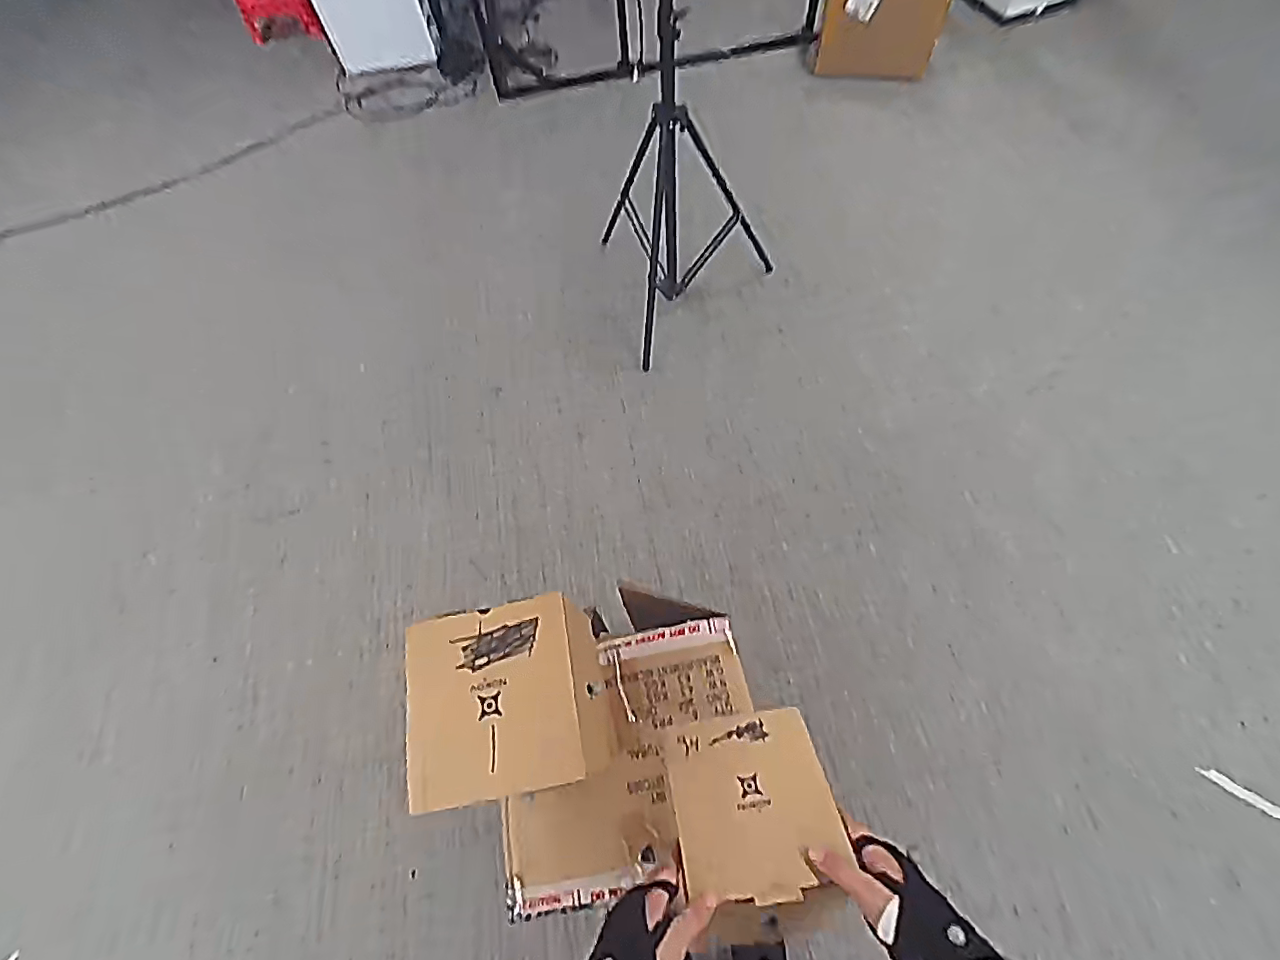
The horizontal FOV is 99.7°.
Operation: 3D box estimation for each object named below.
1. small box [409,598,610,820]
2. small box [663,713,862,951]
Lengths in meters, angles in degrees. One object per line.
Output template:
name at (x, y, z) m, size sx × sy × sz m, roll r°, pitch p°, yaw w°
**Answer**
small box at (-0.134, 0.246, 0.590) m, size 0.168 × 0.176 × 0.179 m, roll -12°, pitch 65°, yaw 0°
small box at (0.122, 0.394, 0.604) m, size 0.168 × 0.176 × 0.179 m, roll -8°, pitch 39°, yaw -3°
